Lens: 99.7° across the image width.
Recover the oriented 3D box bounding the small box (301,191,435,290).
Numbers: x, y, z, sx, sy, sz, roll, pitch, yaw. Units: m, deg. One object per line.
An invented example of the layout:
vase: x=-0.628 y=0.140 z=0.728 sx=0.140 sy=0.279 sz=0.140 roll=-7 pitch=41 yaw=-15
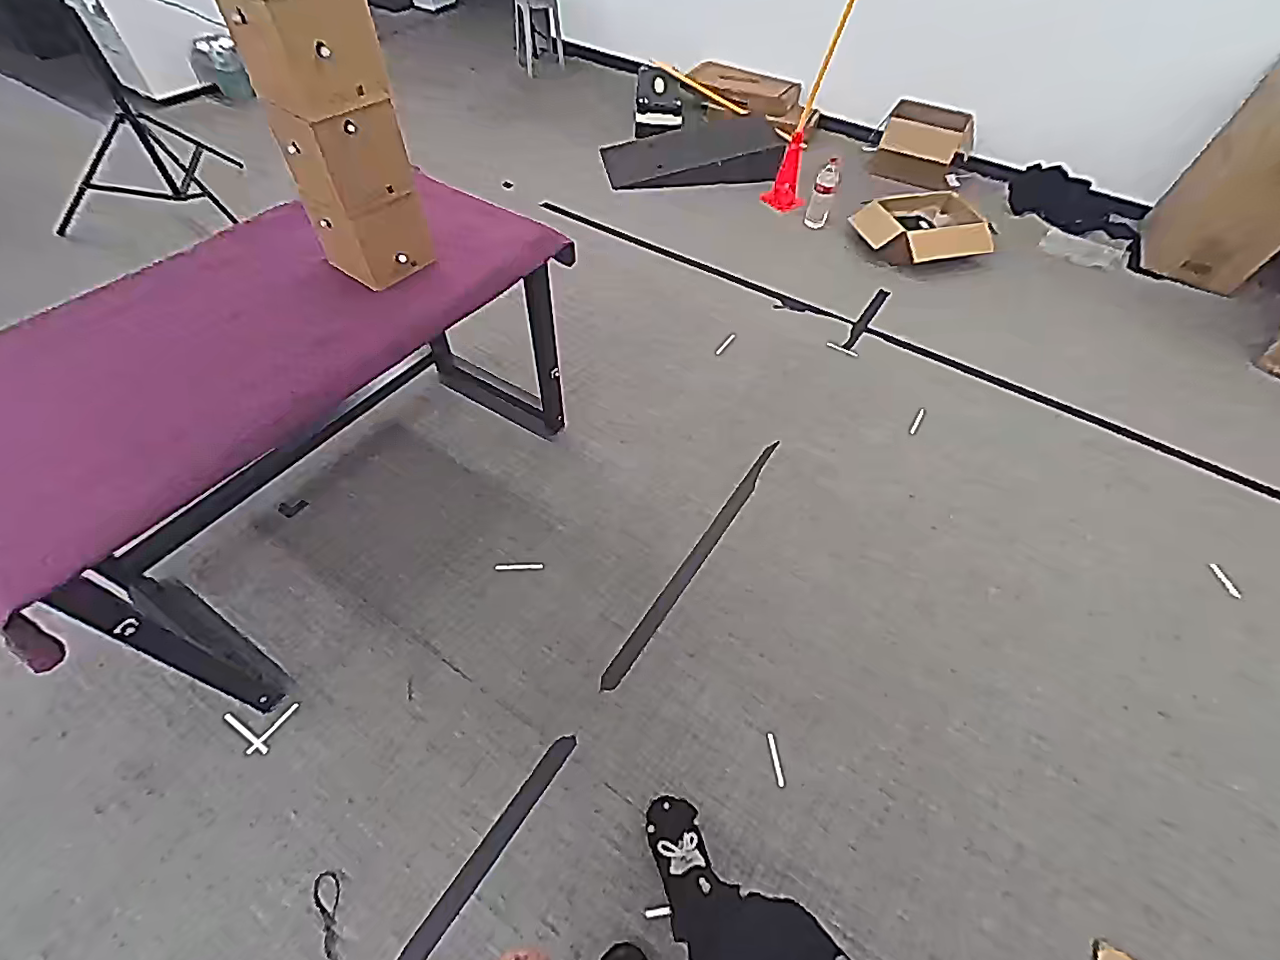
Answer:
small box: x=-0.584 y=-0.545 z=1.181 sx=0.179 sy=0.176 sz=0.168 roll=32 pitch=59 yaw=19

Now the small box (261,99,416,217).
small box: x=-0.573 y=-0.640 z=1.048 sx=0.179 sy=0.176 sz=0.168 roll=33 pitch=59 yaw=21

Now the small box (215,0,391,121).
small box: x=-0.561 y=-0.734 z=0.915 sx=0.179 sy=0.176 sz=0.168 roll=33 pitch=59 yaw=20
